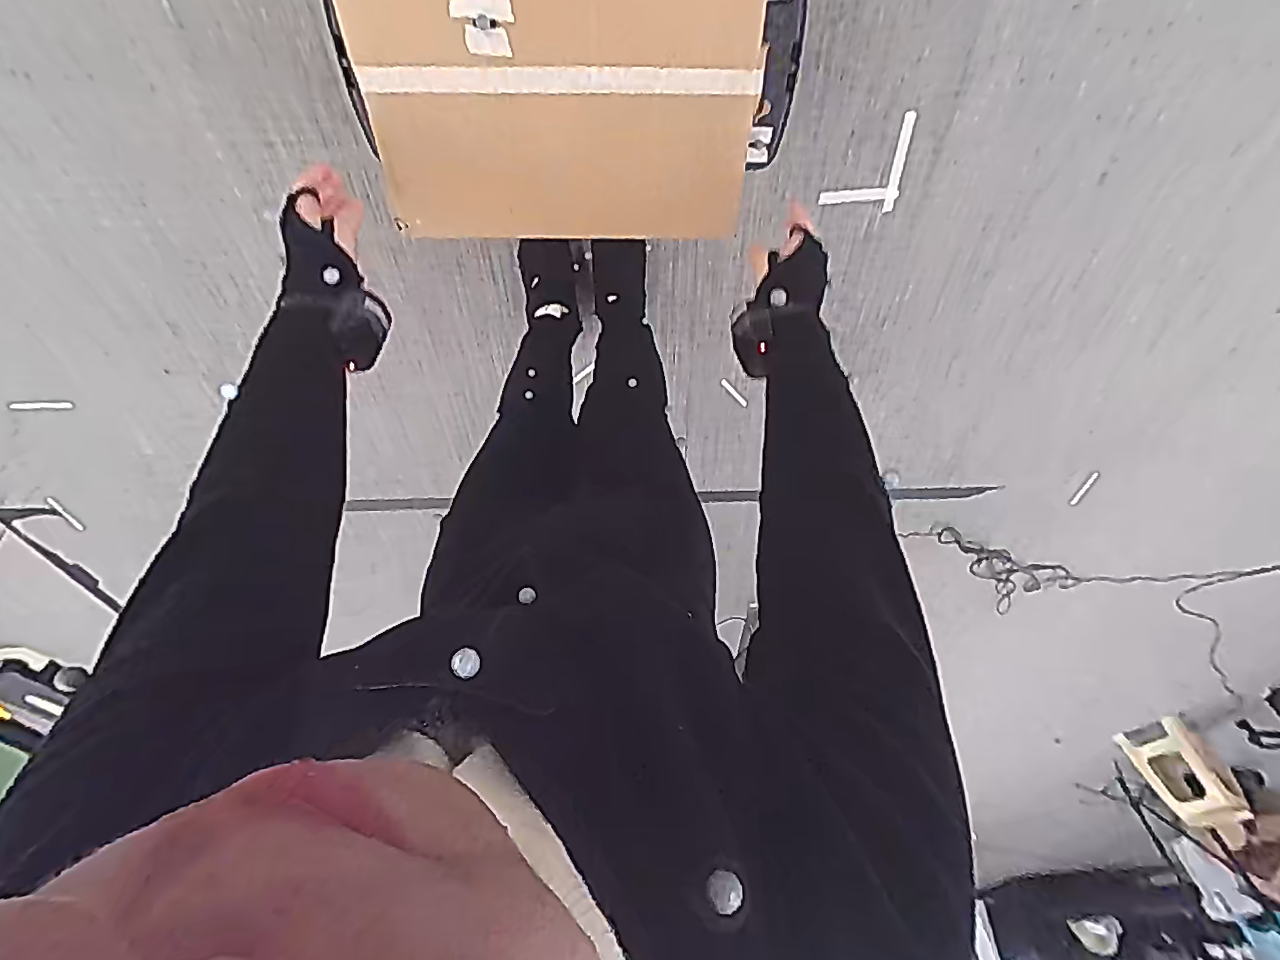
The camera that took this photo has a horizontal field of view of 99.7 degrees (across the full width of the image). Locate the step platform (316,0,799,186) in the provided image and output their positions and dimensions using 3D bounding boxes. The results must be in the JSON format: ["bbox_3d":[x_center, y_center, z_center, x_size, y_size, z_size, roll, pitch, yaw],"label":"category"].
[{"bbox_3d":[-0.113,-0.652,0.839,0.684,0.204,0.286,3,133,-5],"label":"step platform"}]

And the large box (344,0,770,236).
[{"bbox_3d":[-0.077,-0.507,0.648,0.408,0.320,0.320,0,133,-1],"label":"large box"}]
